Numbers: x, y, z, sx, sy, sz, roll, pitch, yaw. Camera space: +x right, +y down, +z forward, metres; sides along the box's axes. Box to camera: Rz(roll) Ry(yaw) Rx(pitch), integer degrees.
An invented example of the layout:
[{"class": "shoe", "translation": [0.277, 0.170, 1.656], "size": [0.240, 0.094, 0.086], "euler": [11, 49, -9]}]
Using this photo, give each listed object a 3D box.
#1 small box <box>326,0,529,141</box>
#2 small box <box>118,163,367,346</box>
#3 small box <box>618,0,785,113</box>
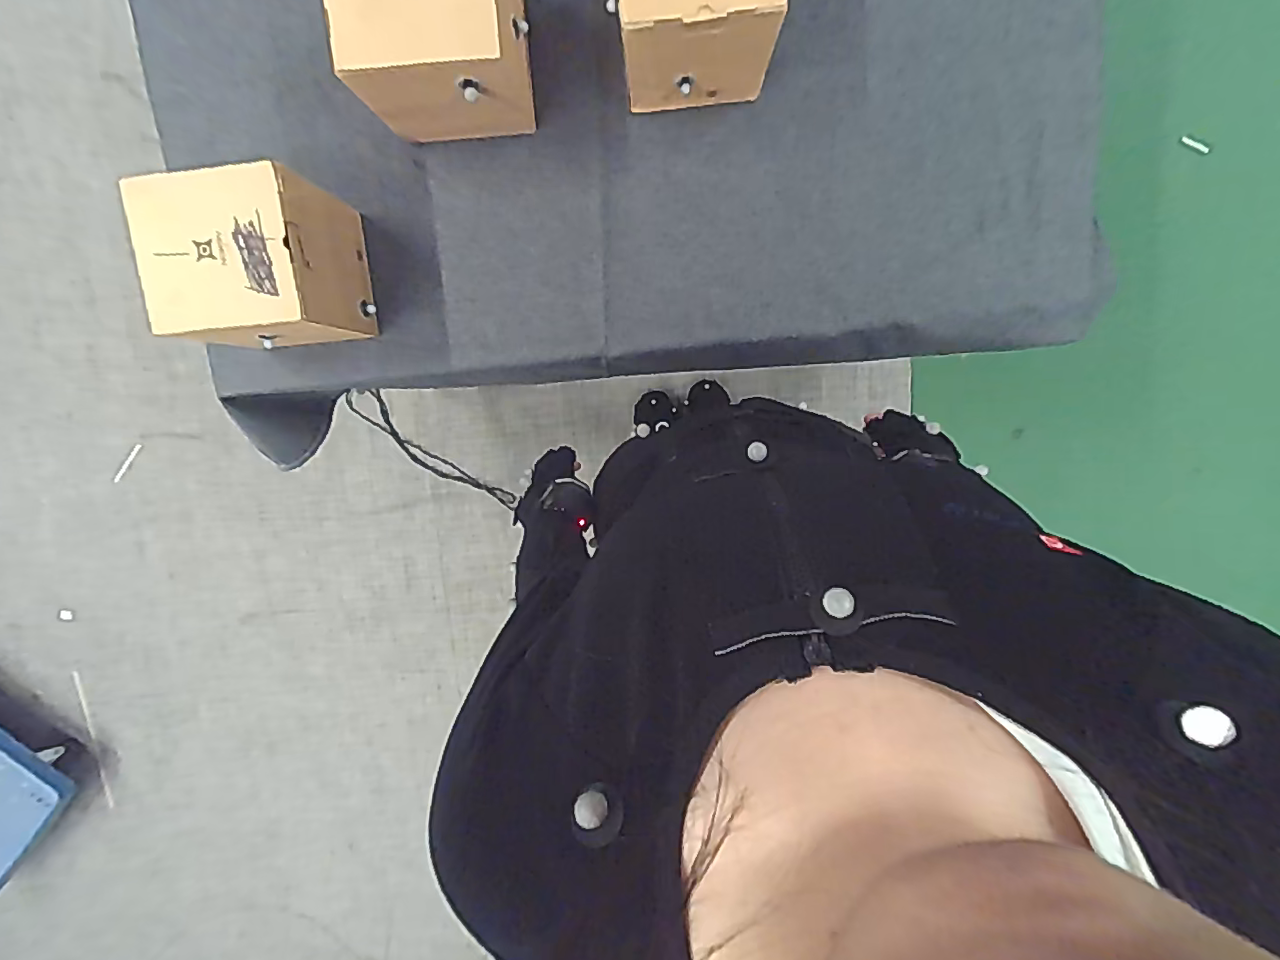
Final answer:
[{"class": "small box", "translation": [-0.228, -0.512, 0.615], "size": [0.179, 0.176, 0.168], "euler": [-3, 100, 2]}, {"class": "small box", "translation": [-0.459, -0.260, 0.661], "size": [0.179, 0.176, 0.168], "euler": [-5, 98, 2]}, {"class": "small box", "translation": [0.058, -0.553, 0.606], "size": [0.168, 0.176, 0.179], "euler": [-5, 99, 2]}]
